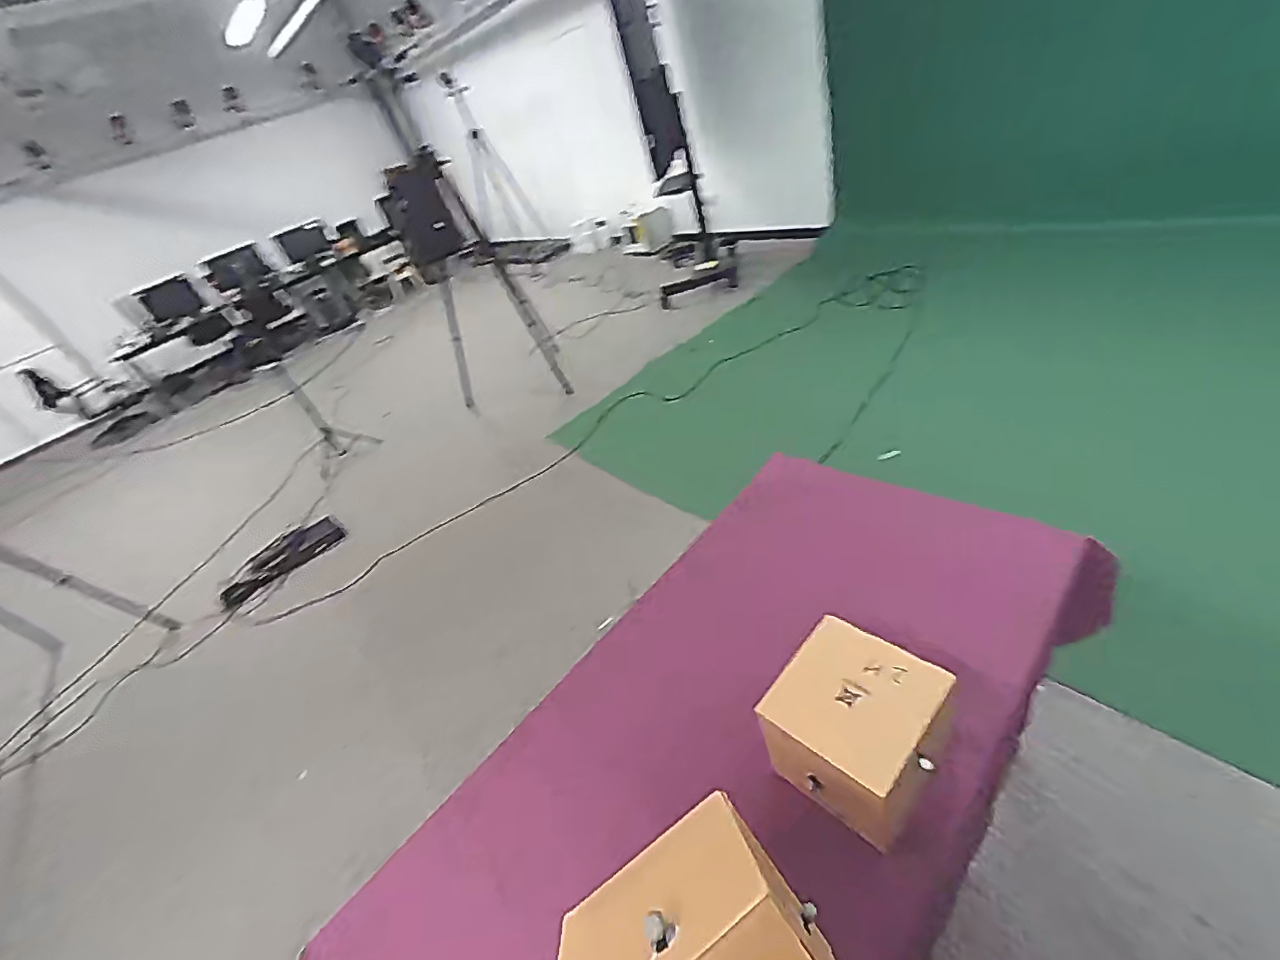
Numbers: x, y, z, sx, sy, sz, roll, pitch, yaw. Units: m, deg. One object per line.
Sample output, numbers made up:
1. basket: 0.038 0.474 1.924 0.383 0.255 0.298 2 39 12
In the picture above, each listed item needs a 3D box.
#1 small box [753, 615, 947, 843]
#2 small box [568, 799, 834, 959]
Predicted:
1. small box: 0.275 0.320 0.701 0.179 0.176 0.168 -41 41 -26
2. small box: 0.055 0.385 0.397 0.179 0.168 0.176 -34 -6 -8
